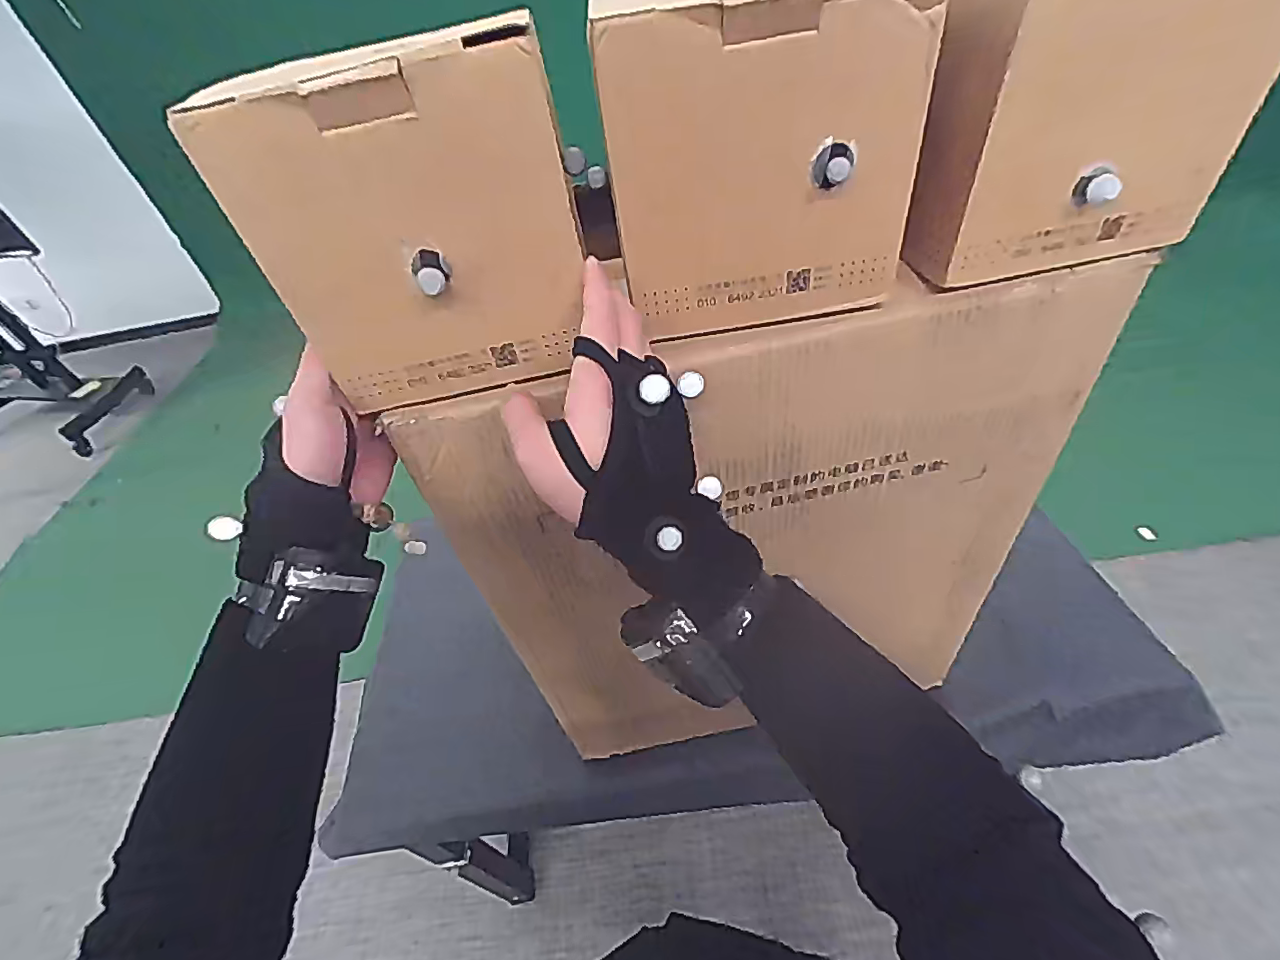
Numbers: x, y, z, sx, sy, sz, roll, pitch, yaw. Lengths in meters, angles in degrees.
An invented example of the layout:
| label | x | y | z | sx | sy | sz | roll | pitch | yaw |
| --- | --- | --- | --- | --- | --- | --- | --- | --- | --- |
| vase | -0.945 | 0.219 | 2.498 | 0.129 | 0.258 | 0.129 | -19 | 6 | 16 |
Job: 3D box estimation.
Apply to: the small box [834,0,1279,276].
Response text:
| label | x | y | z | sx | sy | sz | roll | pitch | yaw |
| --- | --- | --- | --- | --- | --- | --- | --- | --- | --- |
| small box | 0.238 | -0.253 | 0.342 | 0.168 | 0.176 | 0.179 | -12 | 46 | 0 |

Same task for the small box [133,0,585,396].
| label | x | y | z | sx | sy | sz | roll | pitch | yaw |
| --- | --- | --- | --- | --- | --- | --- | --- | --- | --- |
| small box | -0.136 | -0.170 | 0.343 | 0.168 | 0.176 | 0.179 | -13 | 45 | 0 |
